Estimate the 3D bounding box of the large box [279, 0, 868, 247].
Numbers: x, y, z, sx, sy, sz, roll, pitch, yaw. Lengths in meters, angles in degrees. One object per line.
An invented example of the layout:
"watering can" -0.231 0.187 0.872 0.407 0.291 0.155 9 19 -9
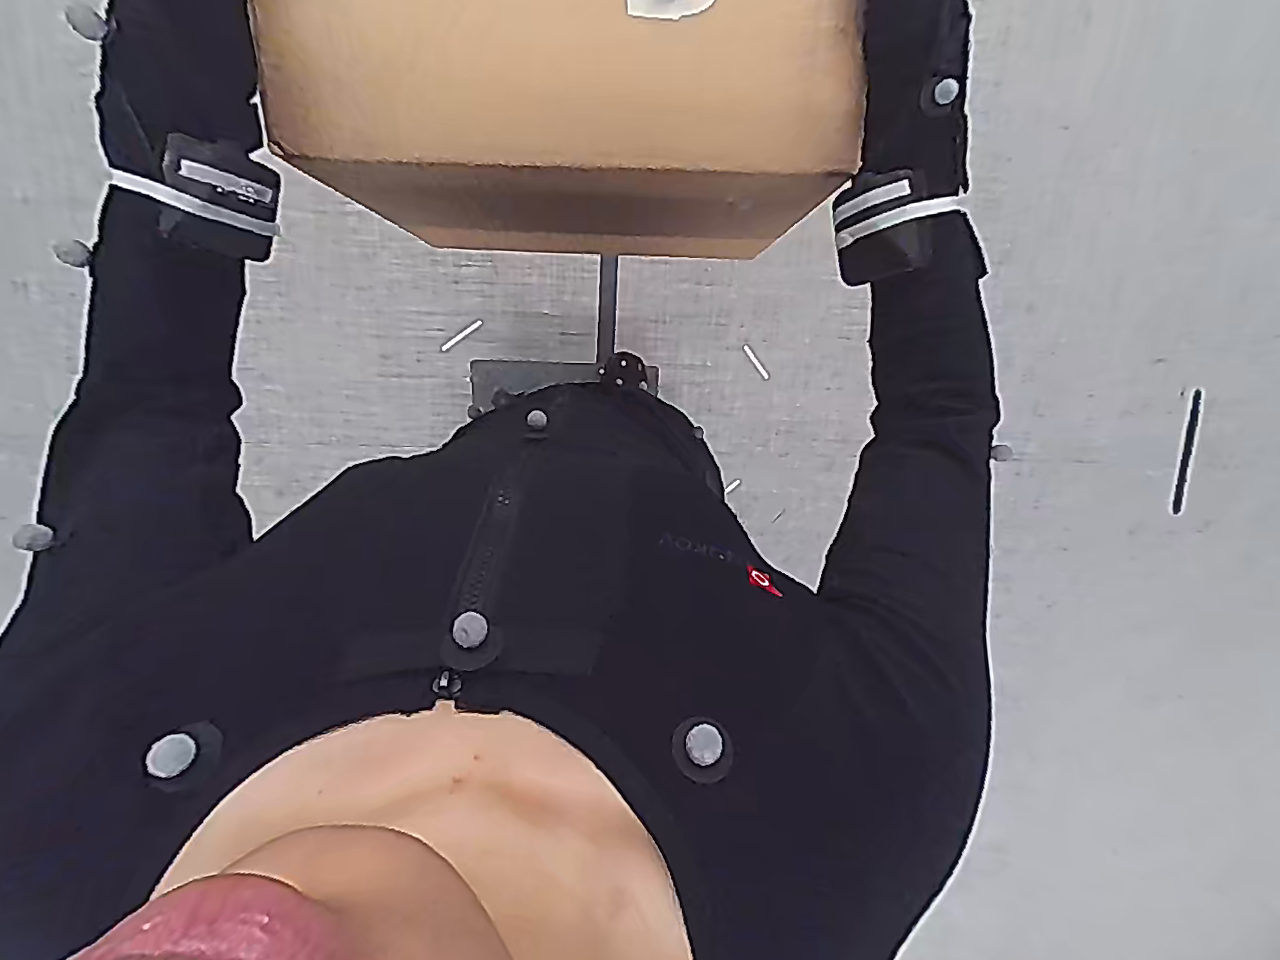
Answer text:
"large box" -0.047 -0.410 0.498 0.408 0.320 0.320 1 103 -2
